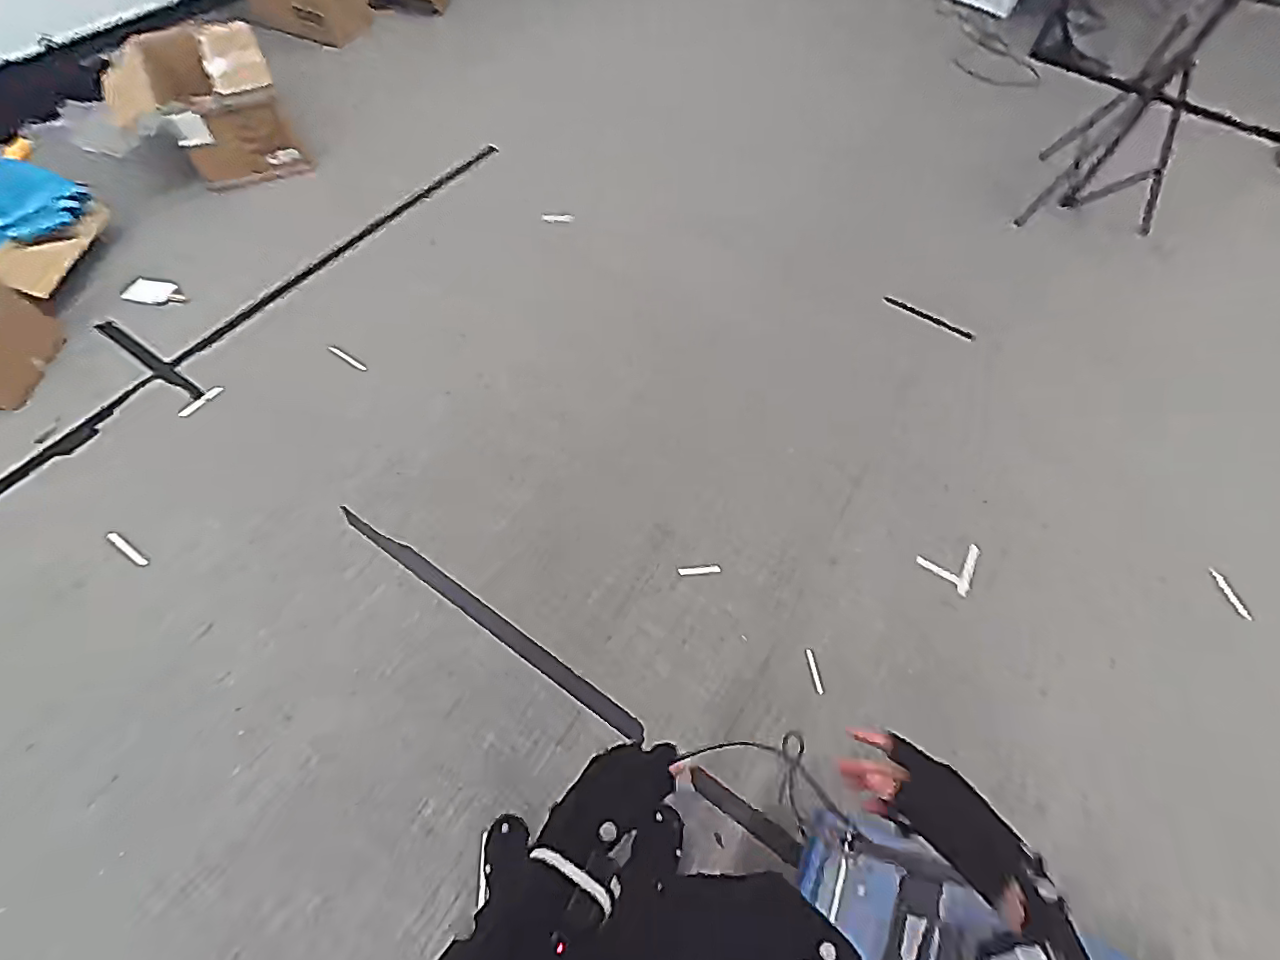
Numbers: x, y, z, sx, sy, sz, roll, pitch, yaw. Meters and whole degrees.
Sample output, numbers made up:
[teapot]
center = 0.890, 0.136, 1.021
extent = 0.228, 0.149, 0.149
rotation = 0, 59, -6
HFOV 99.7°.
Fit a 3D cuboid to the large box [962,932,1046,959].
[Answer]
[large box]
center = 0.704, 0.994, 0.794
extent = 0.320, 0.320, 0.408
rotation = 18, 62, 7
